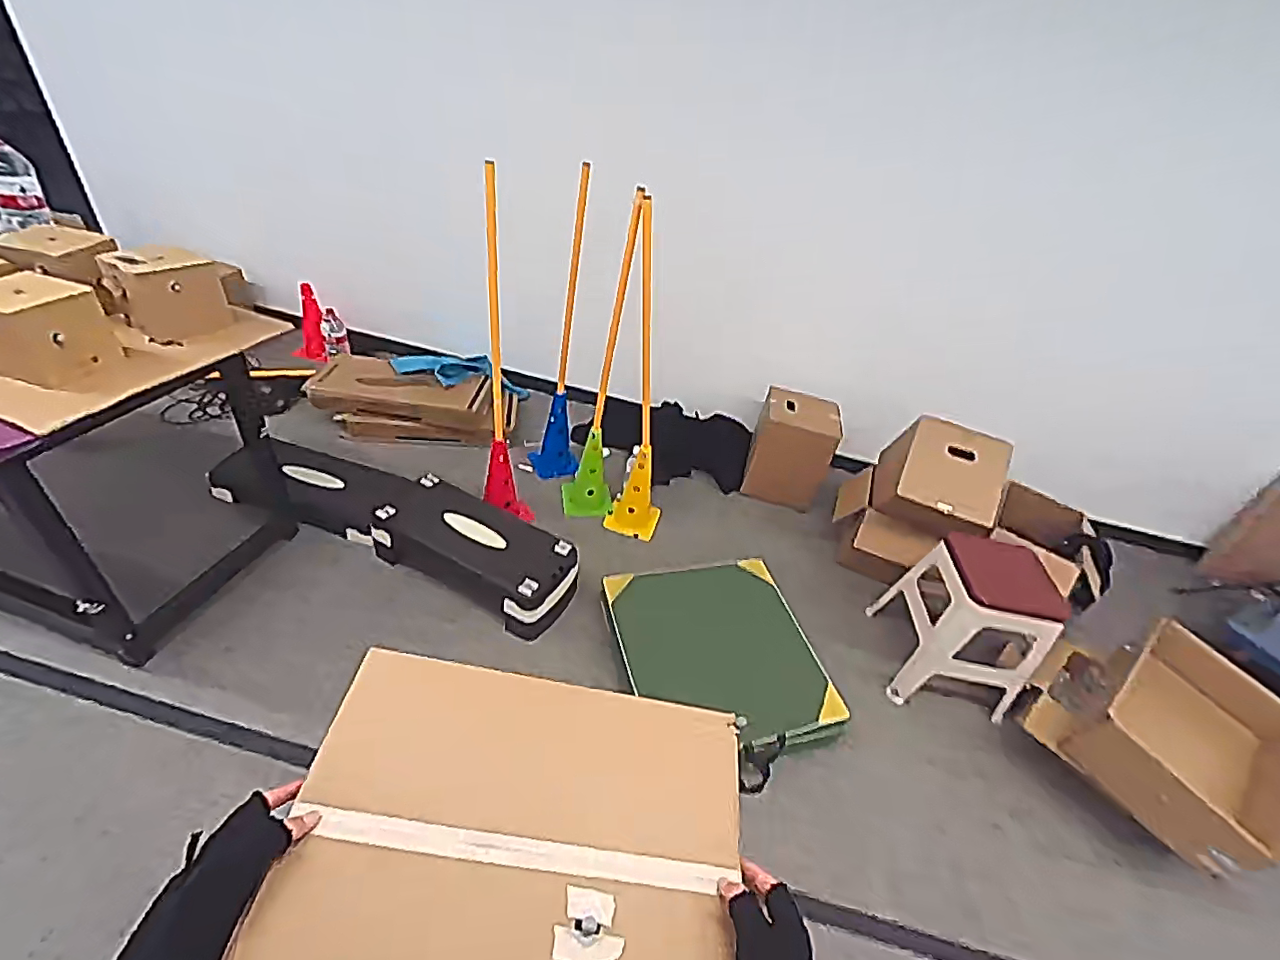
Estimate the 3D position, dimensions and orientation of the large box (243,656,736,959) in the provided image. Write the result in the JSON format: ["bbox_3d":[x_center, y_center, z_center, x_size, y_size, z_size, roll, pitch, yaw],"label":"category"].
[{"bbox_3d":[-0.136,0.439,0.603,0.408,0.320,0.320,13,46,-5],"label":"large box"}]
